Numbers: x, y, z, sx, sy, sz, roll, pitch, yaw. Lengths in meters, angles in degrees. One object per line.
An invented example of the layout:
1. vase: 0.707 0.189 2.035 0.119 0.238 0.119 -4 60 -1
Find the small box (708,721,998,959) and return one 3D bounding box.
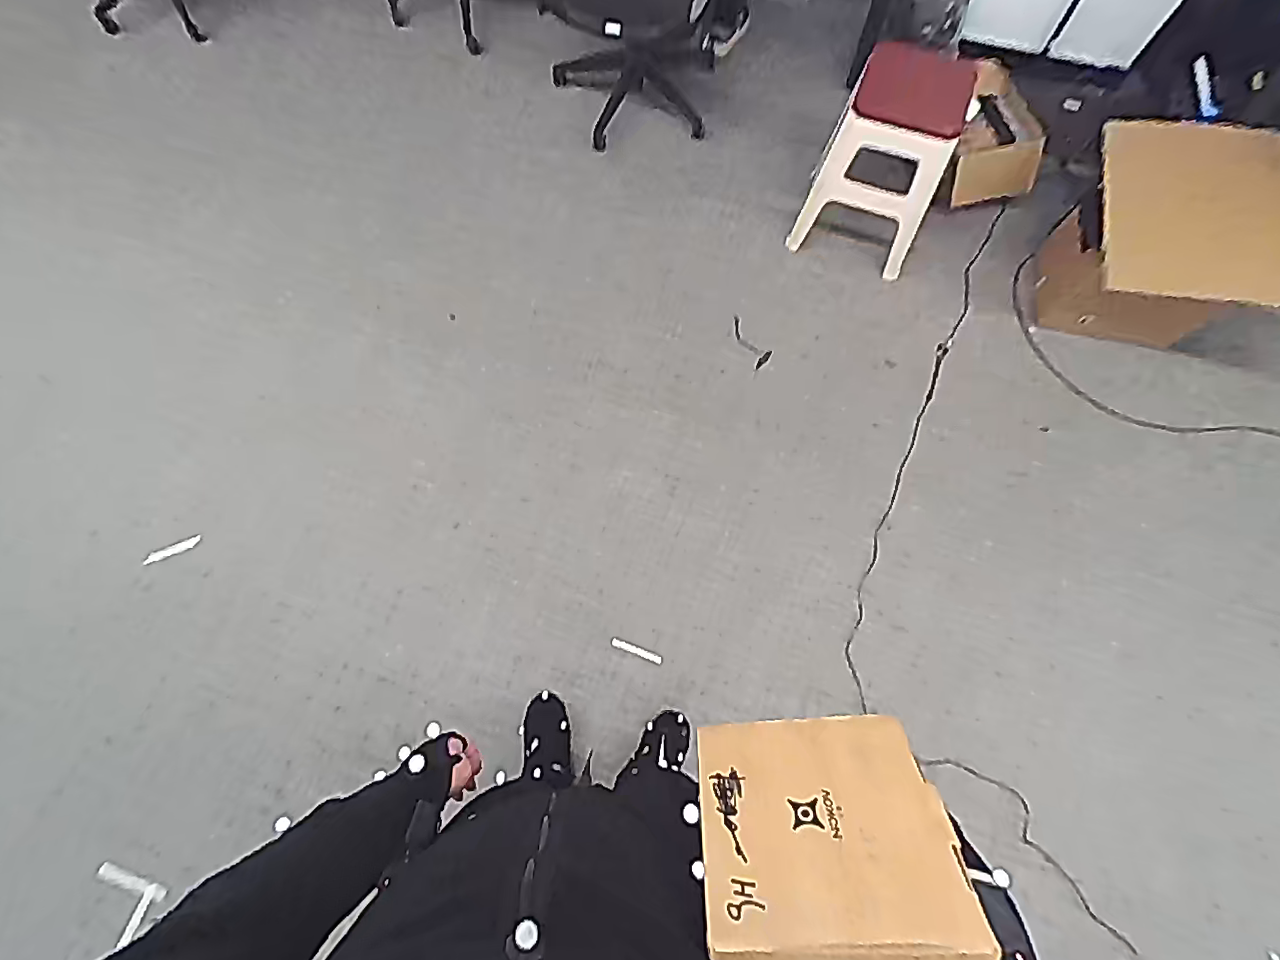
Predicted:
1. small box: 0.153 0.329 0.450 0.179 0.176 0.168 -6 26 6
